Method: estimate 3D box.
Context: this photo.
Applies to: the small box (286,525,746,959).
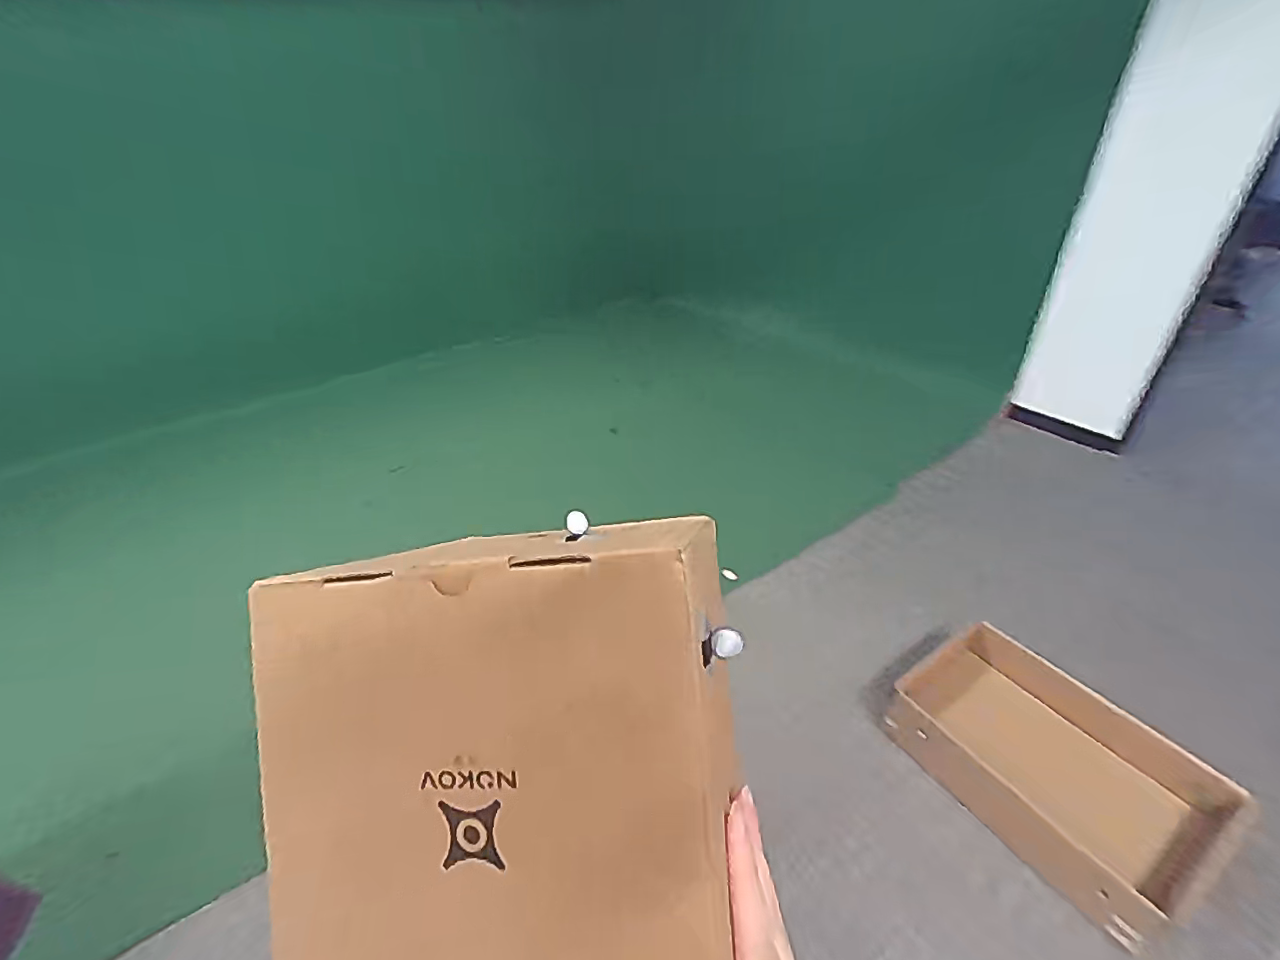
[{"bbox_3d":[-0.036,0.120,0.272,0.168,0.179,0.176,-5,-3,11],"label":"small box"}]
